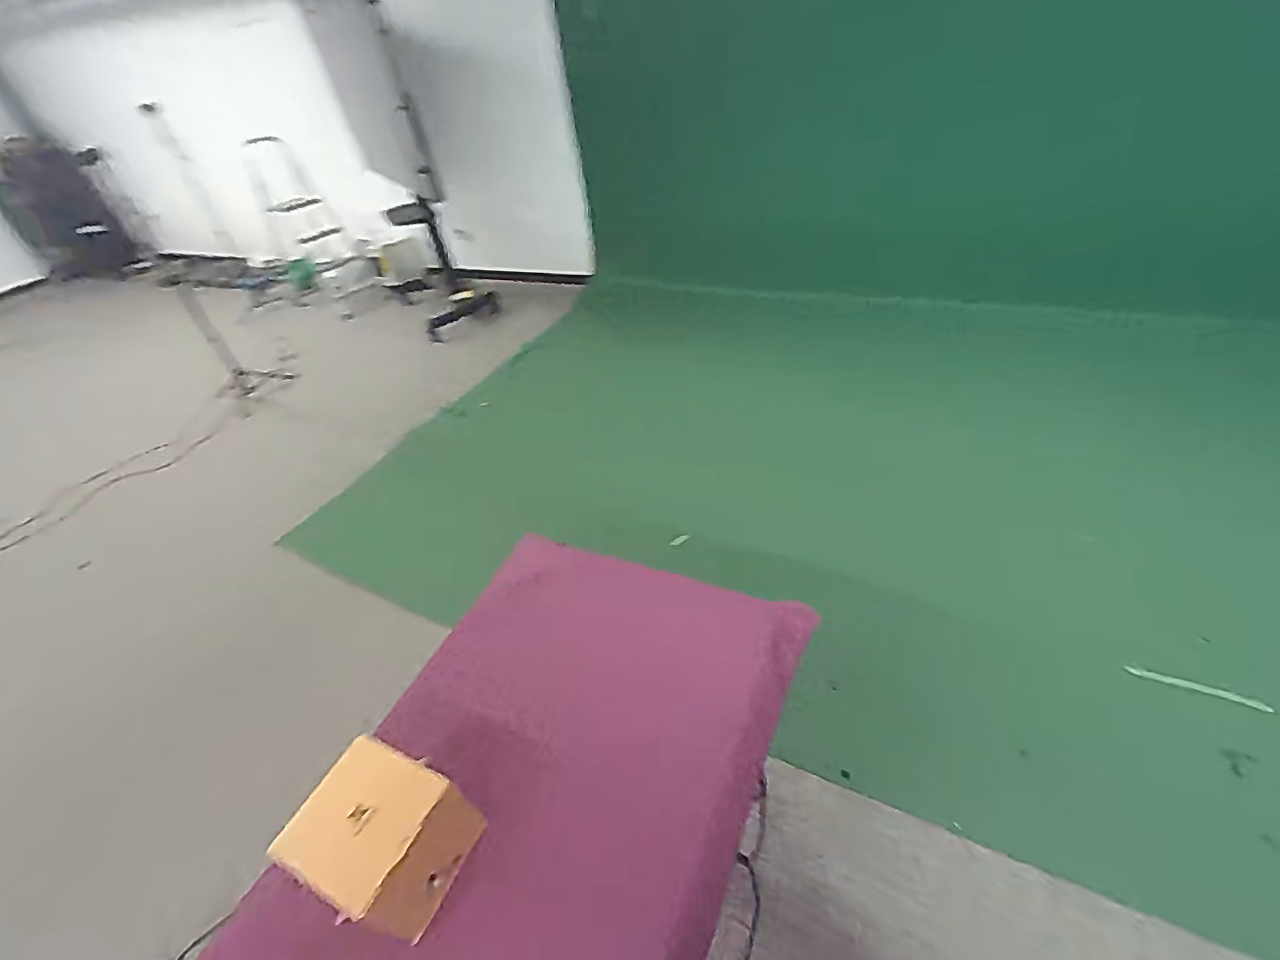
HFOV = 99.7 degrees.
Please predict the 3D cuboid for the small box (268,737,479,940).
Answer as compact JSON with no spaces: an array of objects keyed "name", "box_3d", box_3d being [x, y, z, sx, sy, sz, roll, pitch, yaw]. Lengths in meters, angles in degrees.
[{"name":"small box","box_3d":[-0.362,0.506,0.765,0.179,0.176,0.168,13,44,22]}]
